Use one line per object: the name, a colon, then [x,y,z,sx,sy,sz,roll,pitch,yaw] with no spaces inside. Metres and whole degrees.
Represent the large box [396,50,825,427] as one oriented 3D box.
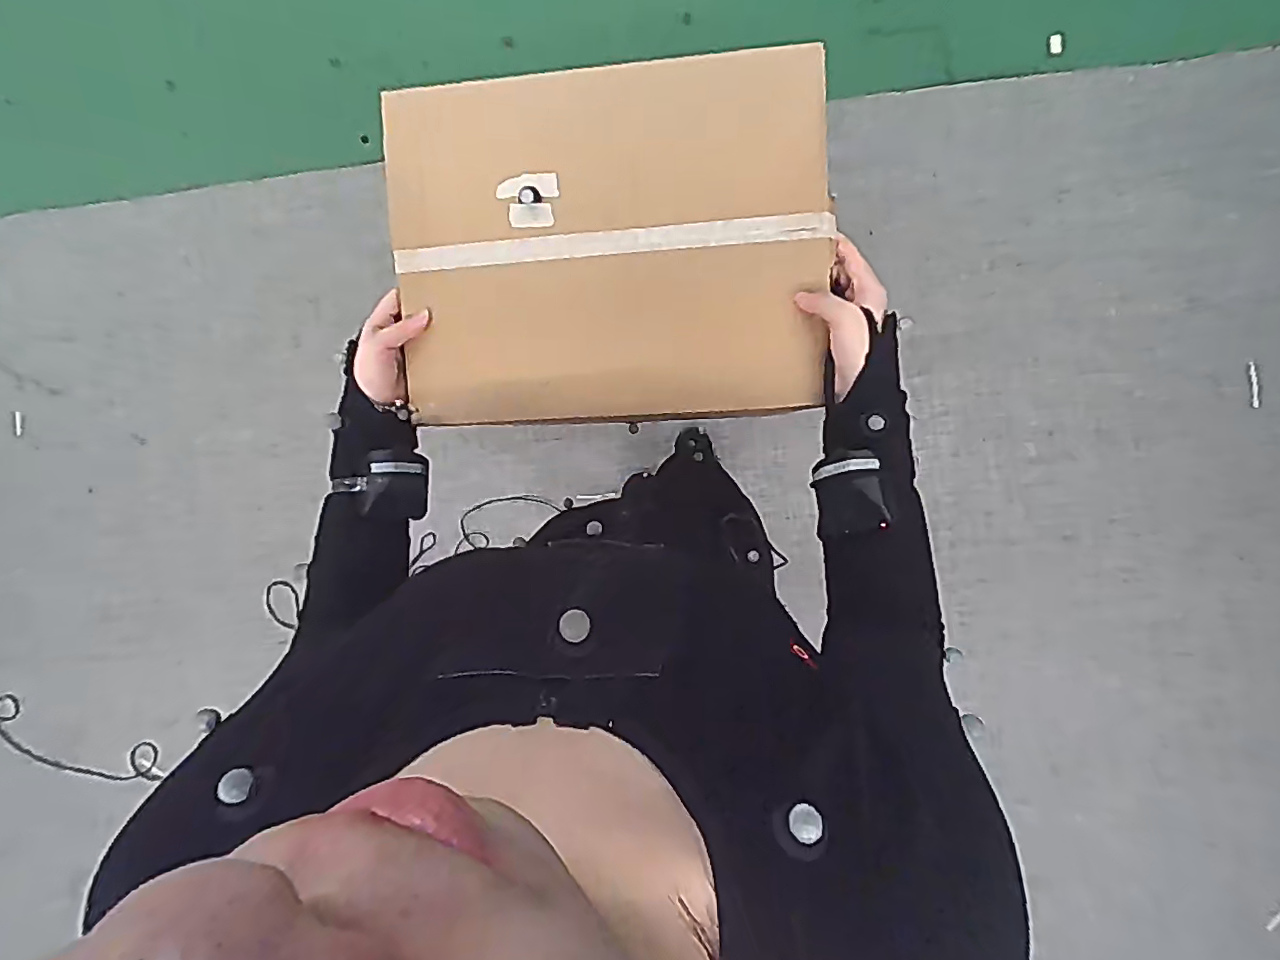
large box: [-0.013,-0.235,0.663,0.408,0.320,0.320,-3,95,7]
